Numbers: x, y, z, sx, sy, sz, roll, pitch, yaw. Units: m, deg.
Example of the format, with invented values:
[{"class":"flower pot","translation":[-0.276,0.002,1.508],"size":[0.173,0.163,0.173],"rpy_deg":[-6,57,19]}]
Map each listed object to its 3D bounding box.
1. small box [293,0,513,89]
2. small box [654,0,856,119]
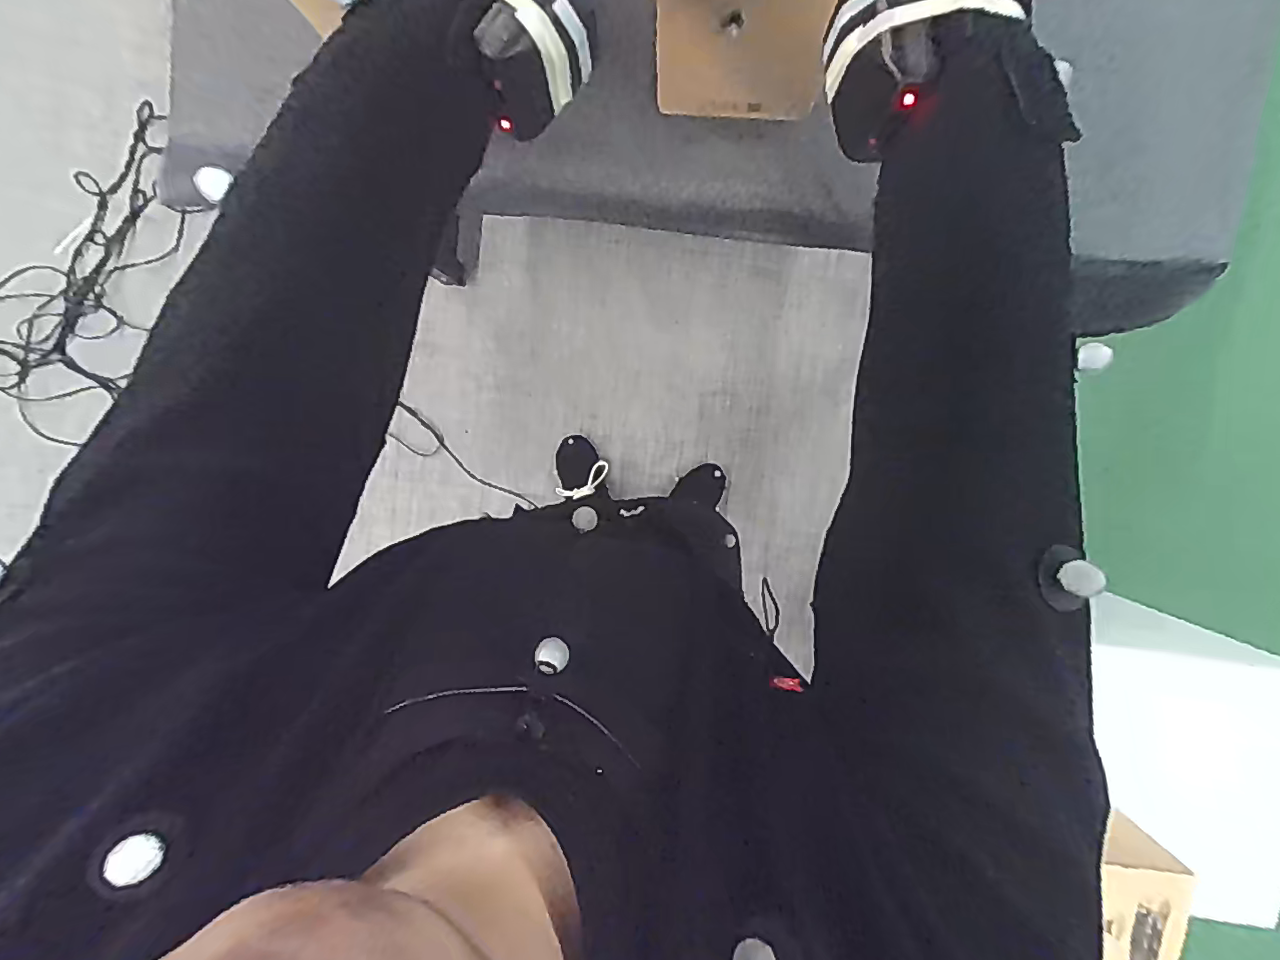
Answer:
[{"class":"small box","translation":[-0.221,-0.509,0.513],"size":[0.168,0.176,0.179],"rpy_deg":[3,96,1]},{"class":"small box","translation":[0.102,-0.483,0.508],"size":[0.168,0.176,0.179],"rpy_deg":[4,96,1]}]
